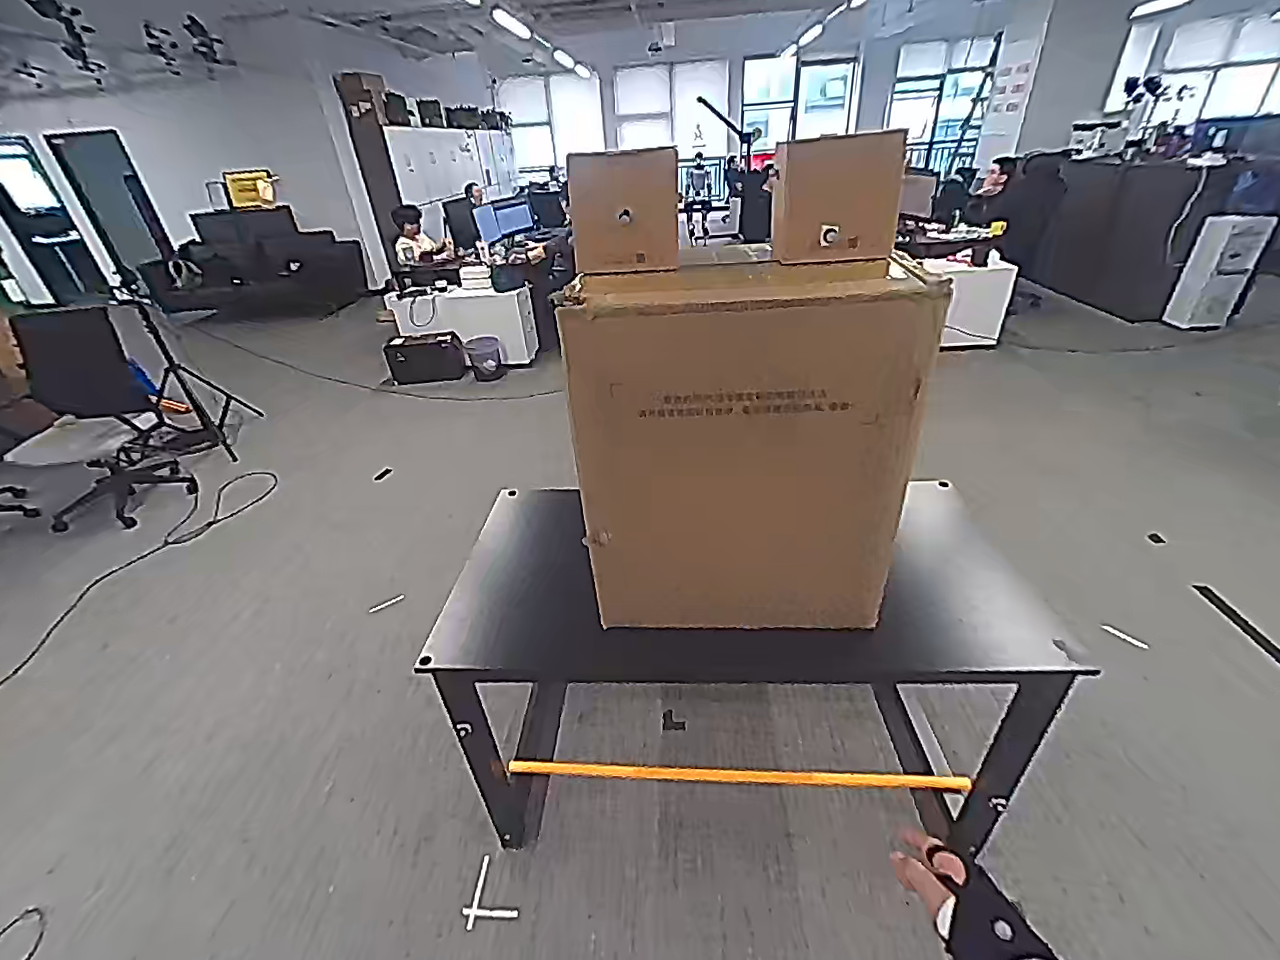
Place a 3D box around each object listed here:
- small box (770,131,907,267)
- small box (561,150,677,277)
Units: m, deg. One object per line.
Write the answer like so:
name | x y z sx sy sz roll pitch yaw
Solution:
small box | 0.298 -0.439 0.852 0.168 0.176 0.179 -3 31 8
small box | -0.028 -0.435 0.889 0.168 0.176 0.179 -3 32 1
